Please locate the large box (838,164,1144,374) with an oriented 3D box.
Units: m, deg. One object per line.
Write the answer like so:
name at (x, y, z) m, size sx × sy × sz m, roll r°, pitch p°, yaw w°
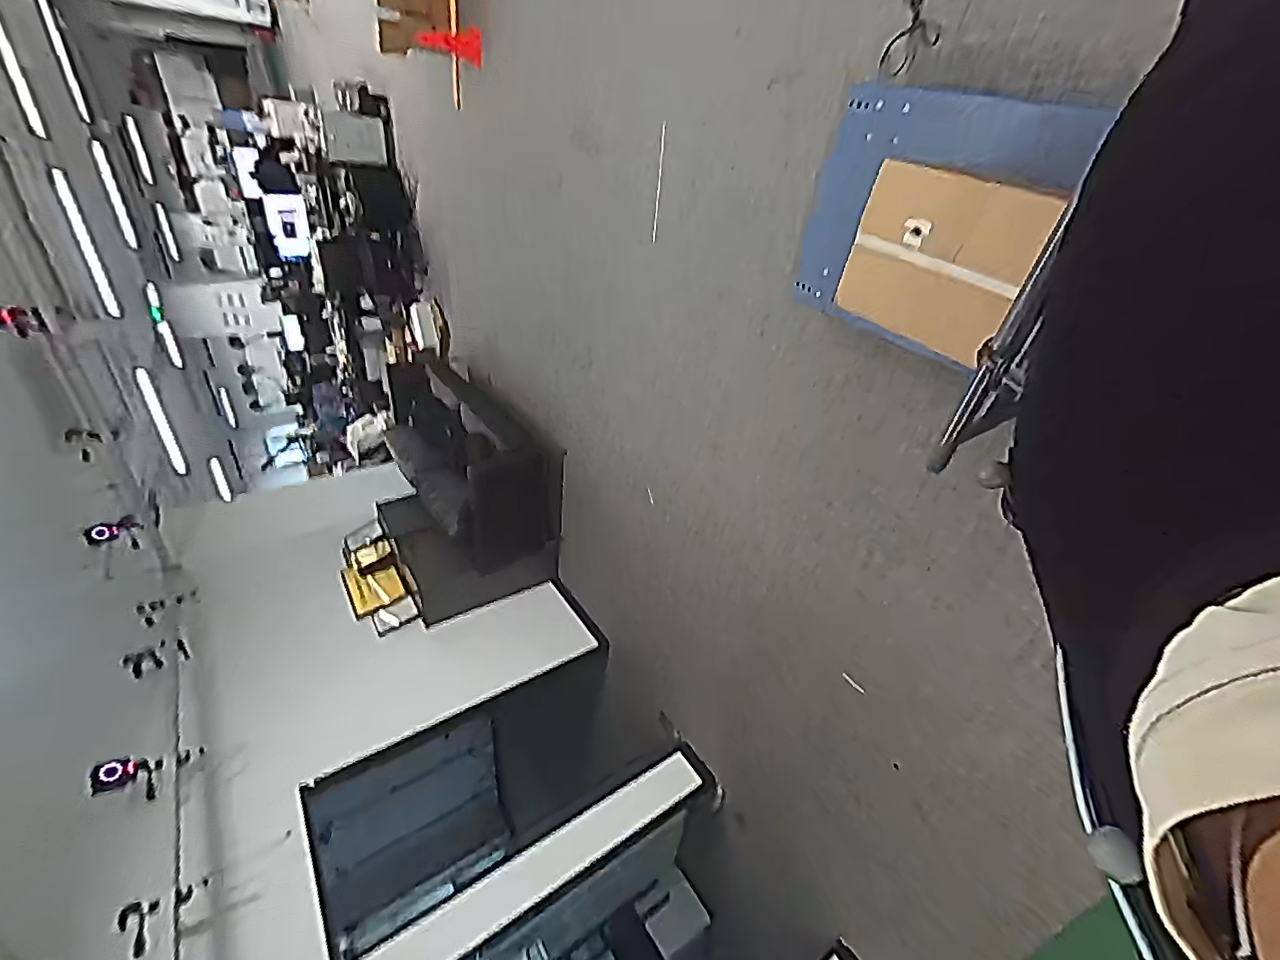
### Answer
large box at (0.734, -0.472, 1.181) m, size 0.408 × 0.320 × 0.320 m, roll 45°, pitch 138°, yaw 38°
